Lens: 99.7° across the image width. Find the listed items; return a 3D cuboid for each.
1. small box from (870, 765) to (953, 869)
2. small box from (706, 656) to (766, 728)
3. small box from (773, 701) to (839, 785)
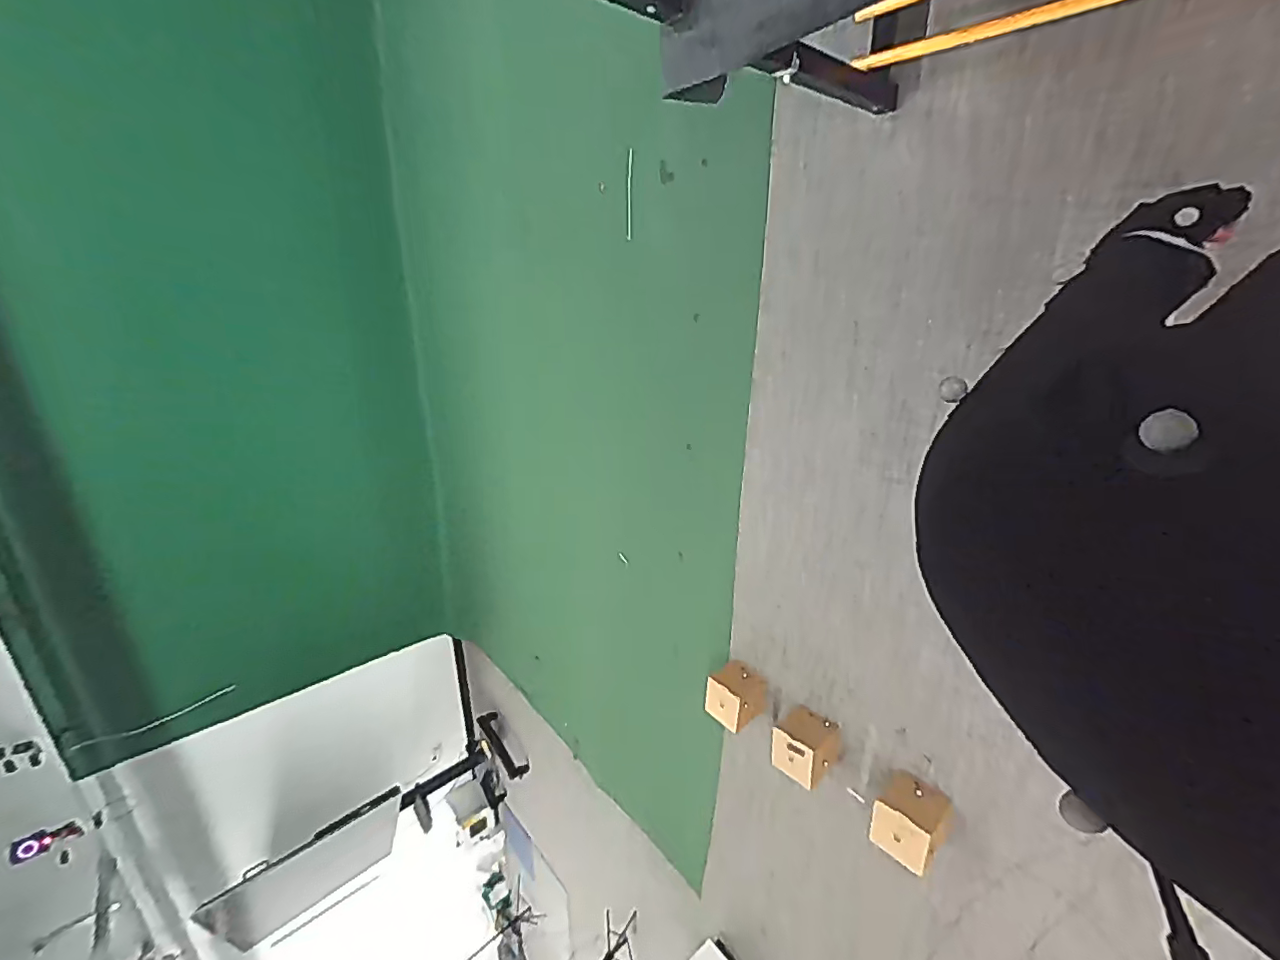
[{"bbox_3d":[0.843,1.036,1.676,0.168,0.176,0.179,20,117,44],"label":"small box"},{"bbox_3d":[0.386,0.844,2.168,0.168,0.176,0.179,24,120,43],"label":"small box"},{"bbox_3d":[0.597,0.934,1.940,0.168,0.176,0.179,18,117,47],"label":"small box"}]
